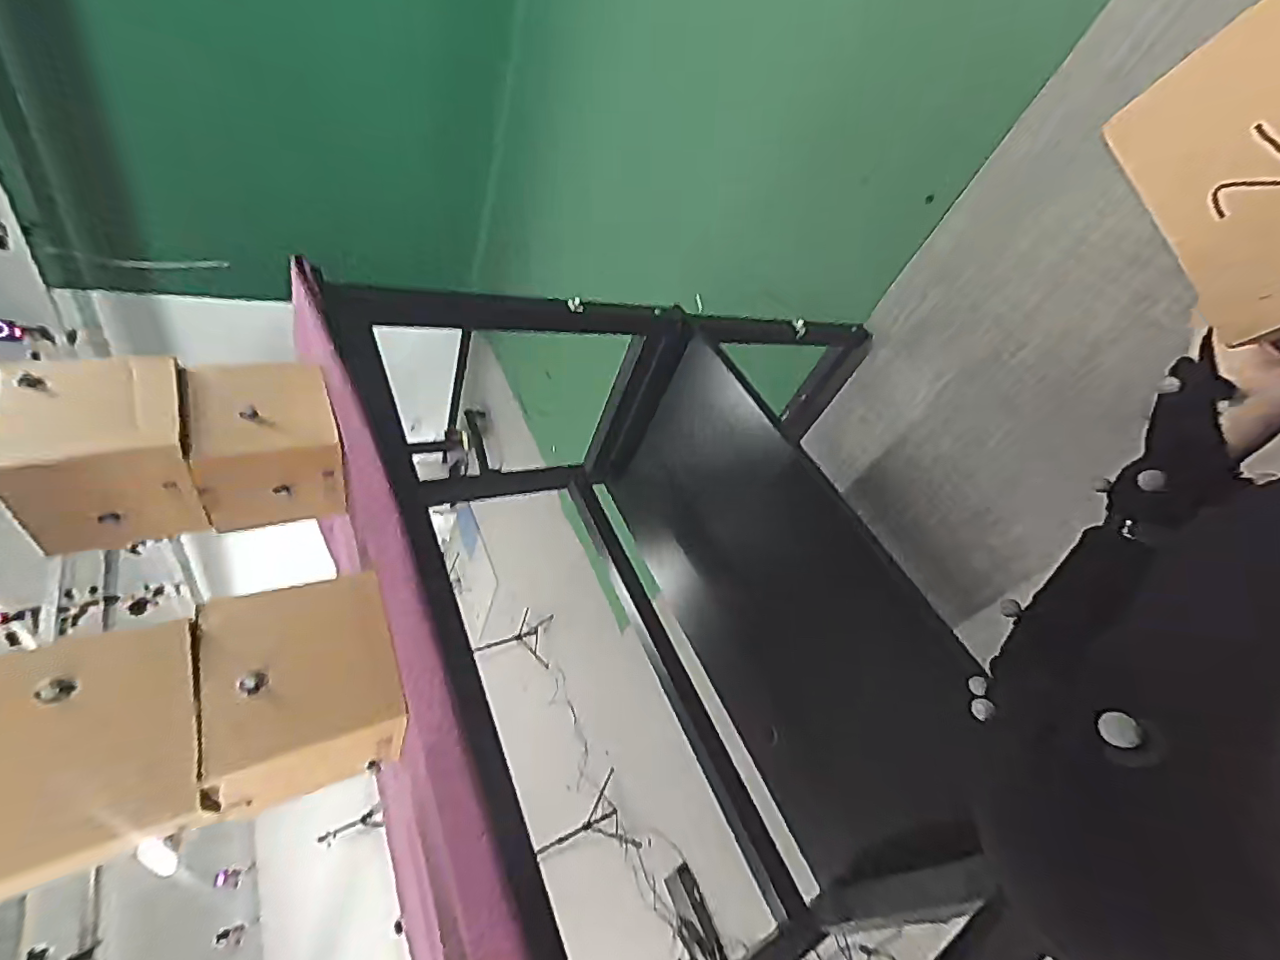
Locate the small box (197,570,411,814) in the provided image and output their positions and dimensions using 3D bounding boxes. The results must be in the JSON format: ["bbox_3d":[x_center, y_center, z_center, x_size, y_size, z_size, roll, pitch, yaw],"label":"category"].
[{"bbox_3d":[-0.359,0.223,0.593,0.179,0.176,0.168,61,141,29],"label":"small box"}]

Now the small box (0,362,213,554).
[{"bbox_3d":[-0.664,-0.037,0.688,0.179,0.176,0.168,59,143,28],"label":"small box"}]

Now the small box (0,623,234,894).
[{"bbox_3d":[-0.491,0.246,0.500,0.168,0.176,0.179,-49,58,49],"label":"small box"}]

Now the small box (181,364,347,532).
[{"bbox_3d":[-0.533,-0.055,0.785,0.179,0.176,0.168,58,142,28],"label":"small box"}]
